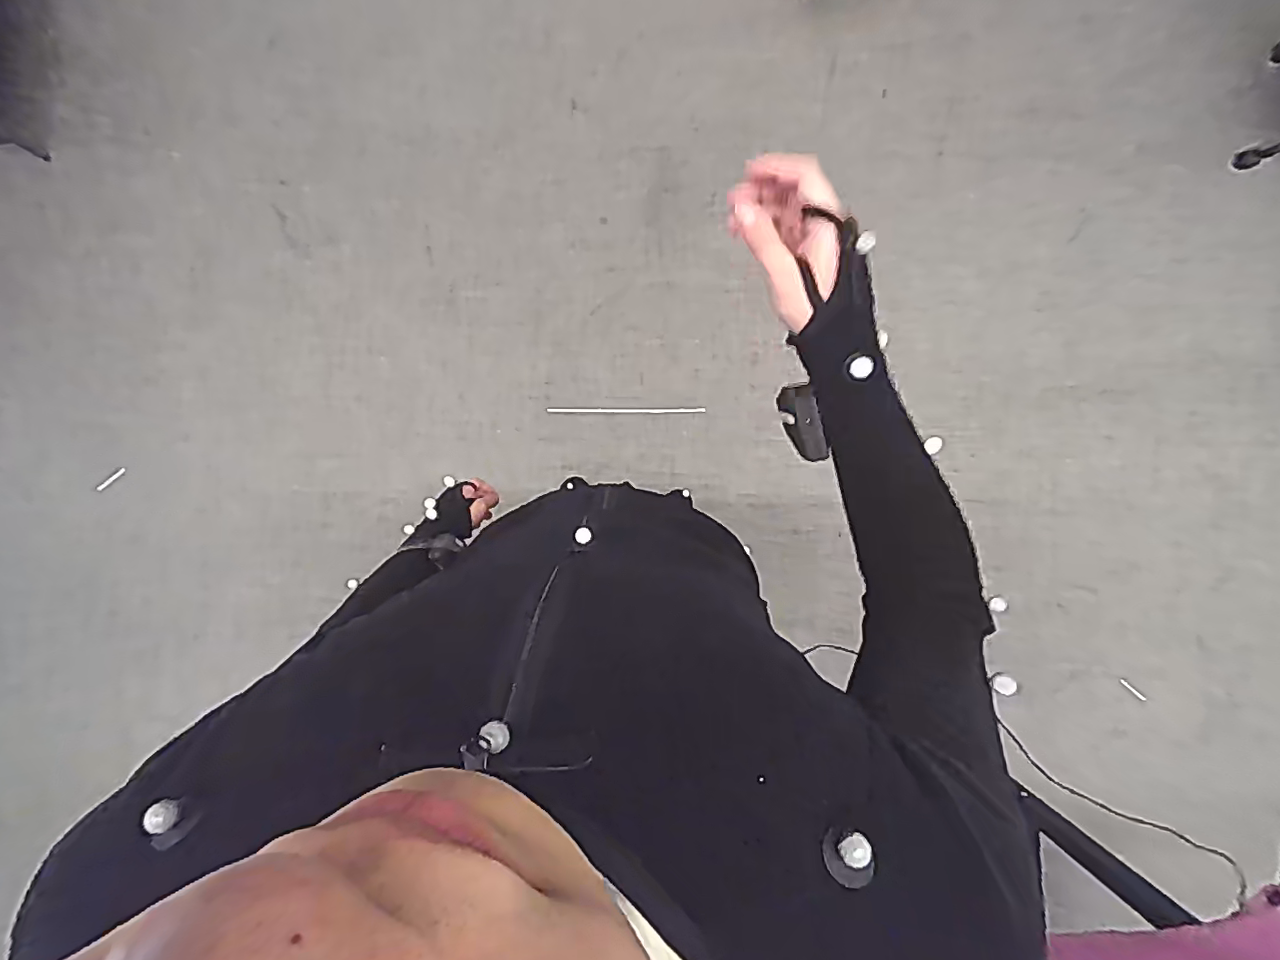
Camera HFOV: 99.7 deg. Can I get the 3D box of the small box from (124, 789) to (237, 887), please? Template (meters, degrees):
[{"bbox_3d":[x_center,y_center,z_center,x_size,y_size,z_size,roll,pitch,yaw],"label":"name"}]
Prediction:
[{"bbox_3d":[-1.262,0.984,1.497,0.179,0.176,0.168,4,88,-1],"label":"small box"}]
